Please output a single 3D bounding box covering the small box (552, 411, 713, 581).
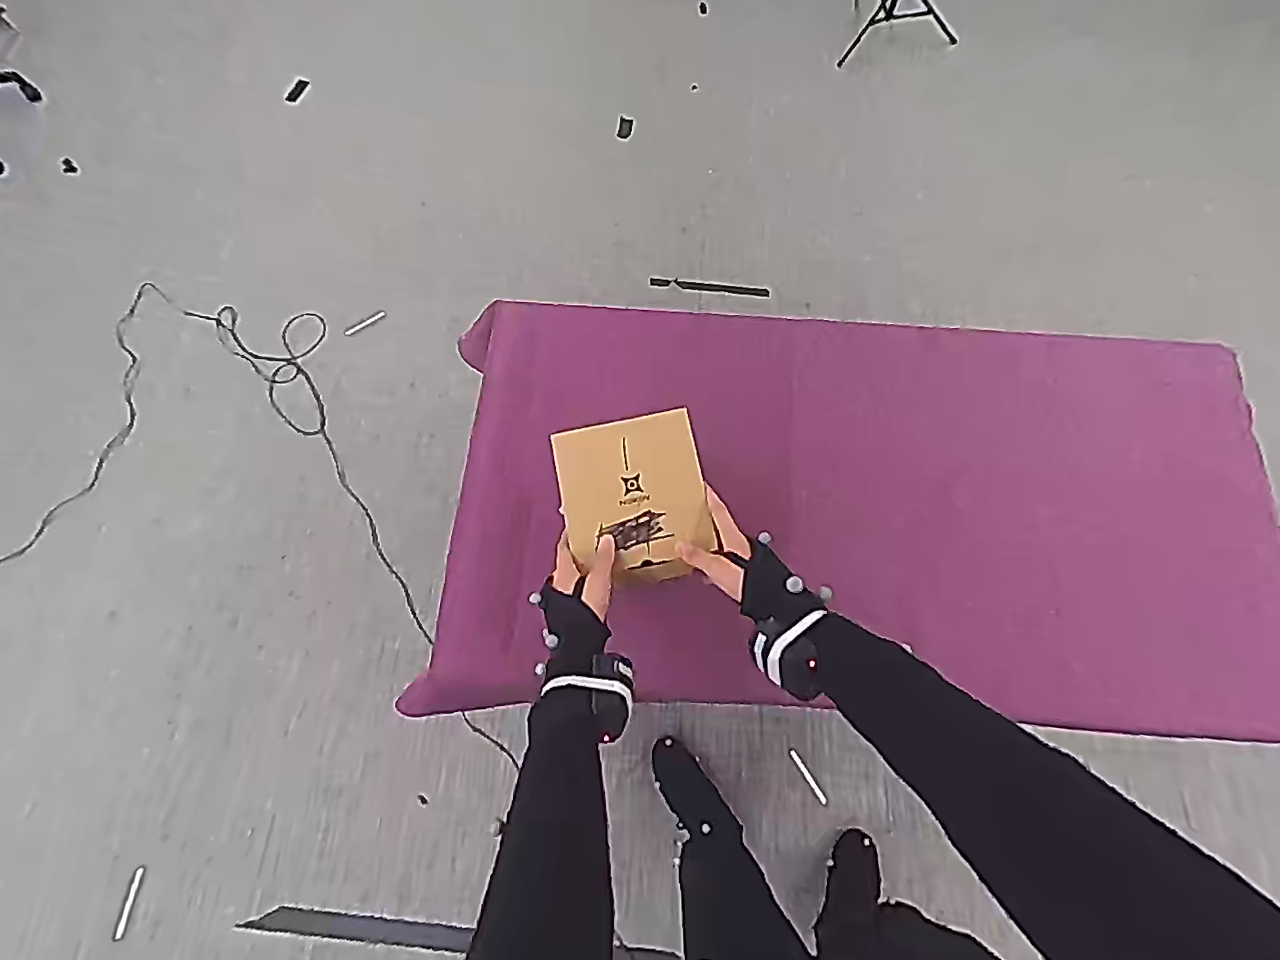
[{"bbox_3d":[-0.007,0.031,0.702,0.168,0.176,0.179,-11,77,-1],"label":"small box"}]
